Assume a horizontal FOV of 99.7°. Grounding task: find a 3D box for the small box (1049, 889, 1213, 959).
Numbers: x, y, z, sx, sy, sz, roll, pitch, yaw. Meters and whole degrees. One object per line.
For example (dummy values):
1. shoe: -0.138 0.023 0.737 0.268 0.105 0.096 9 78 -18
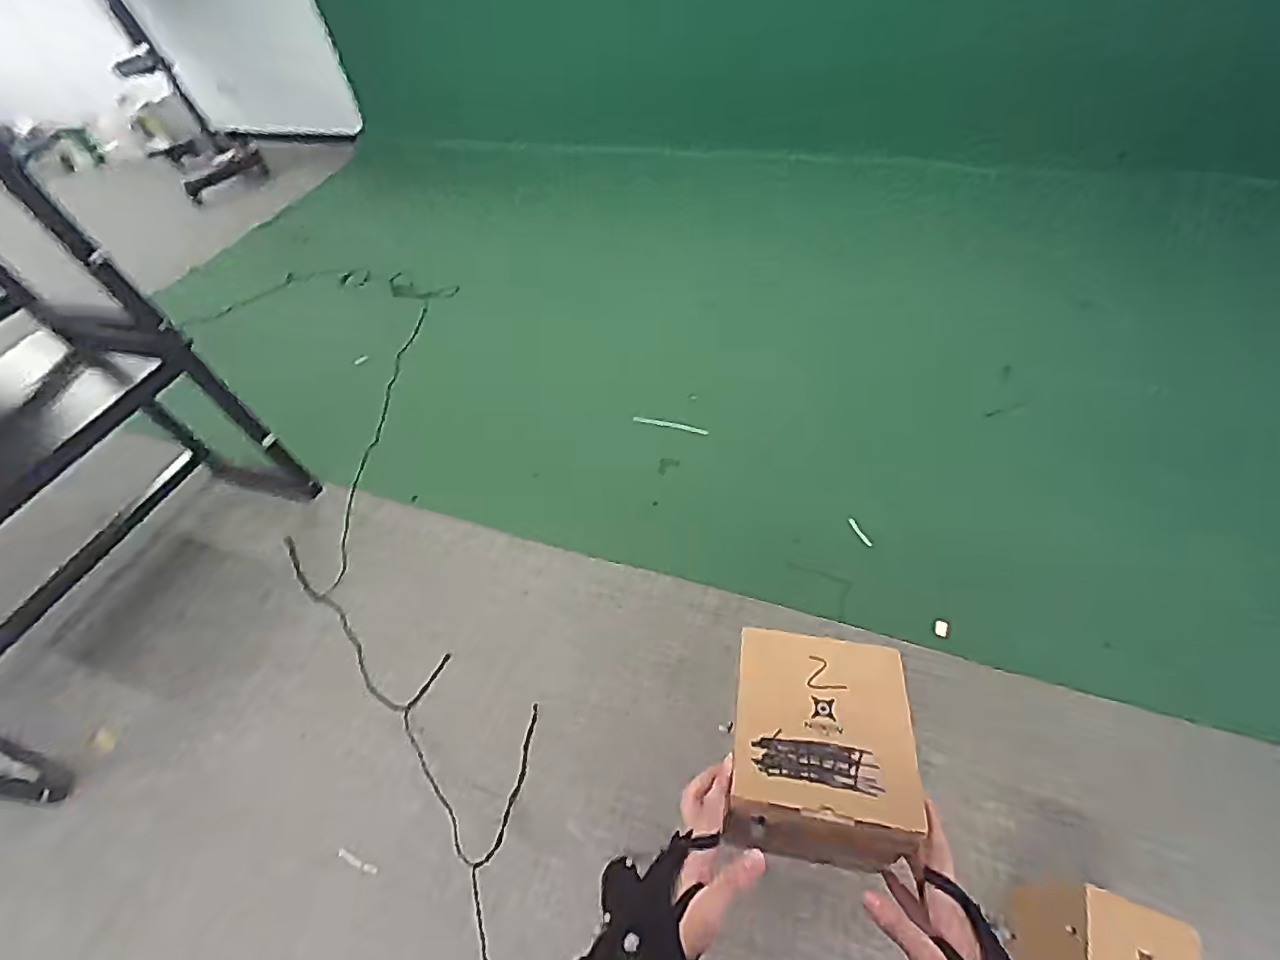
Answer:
1. small box: 0.847 0.854 0.944 0.168 0.176 0.179 16 57 20
